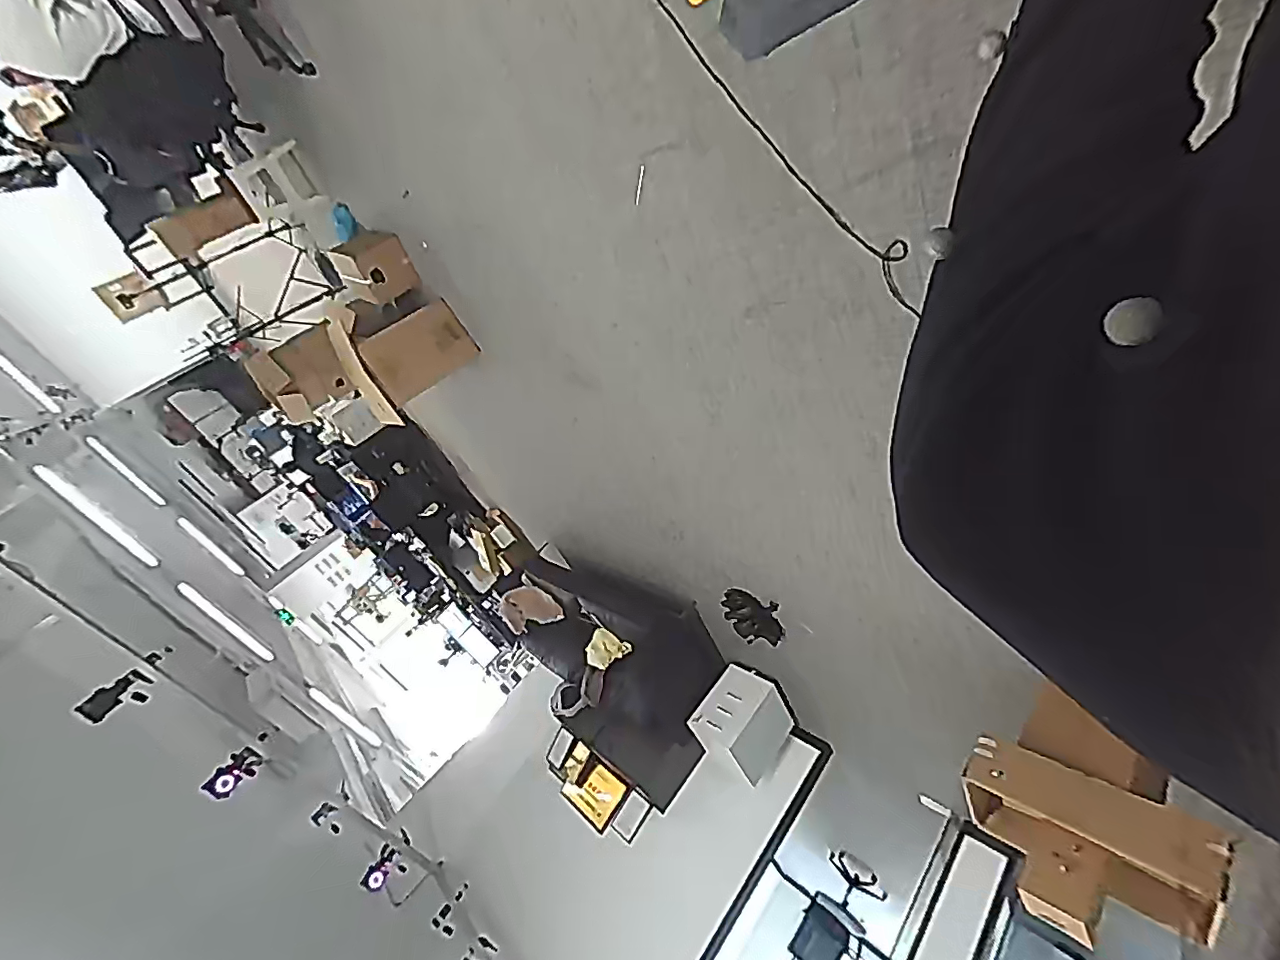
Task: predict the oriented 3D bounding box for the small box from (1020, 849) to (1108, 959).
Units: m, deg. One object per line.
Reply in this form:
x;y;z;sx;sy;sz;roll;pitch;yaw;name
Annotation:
1.281;1.270;1.629;0.168;0.176;0.179;4;131;53;small box

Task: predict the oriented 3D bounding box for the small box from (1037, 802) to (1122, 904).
1.386;1.164;1.700;0.168;0.176;0.179;2;131;53;small box
